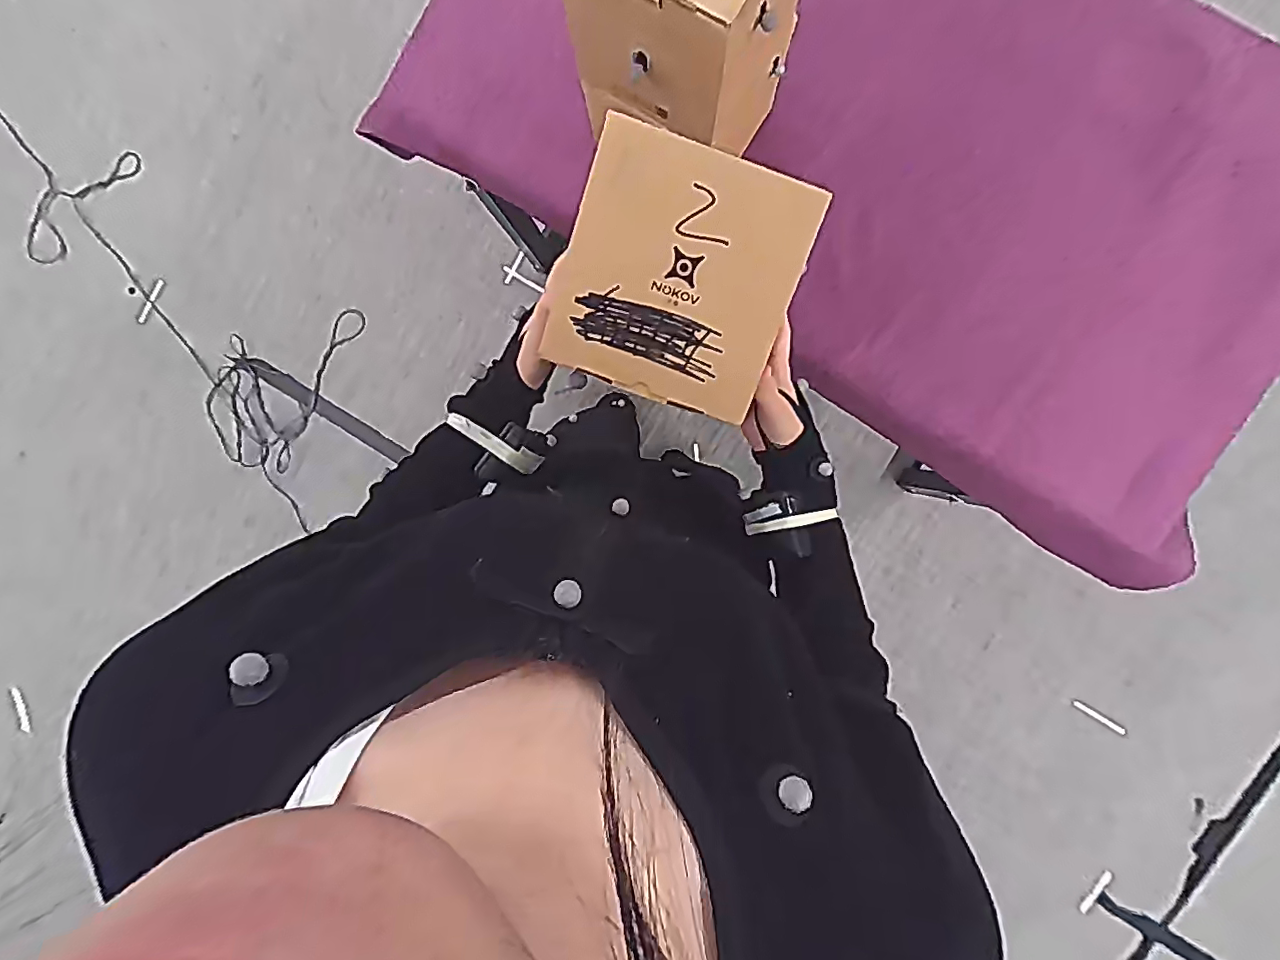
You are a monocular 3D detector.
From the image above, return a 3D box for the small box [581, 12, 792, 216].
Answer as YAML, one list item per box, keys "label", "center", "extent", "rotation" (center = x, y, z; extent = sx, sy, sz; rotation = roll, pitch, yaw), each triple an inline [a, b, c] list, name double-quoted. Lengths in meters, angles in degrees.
- label: "small box"
  center: [0.054, -0.462, 0.655]
  extent: [0.168, 0.176, 0.179]
  rotation: [32, 94, 1]

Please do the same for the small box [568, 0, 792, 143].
- label: "small box"
  center: [0.046, -0.458, 0.491]
  extent: [0.168, 0.176, 0.179]
  rotation: [31, 94, 0]
